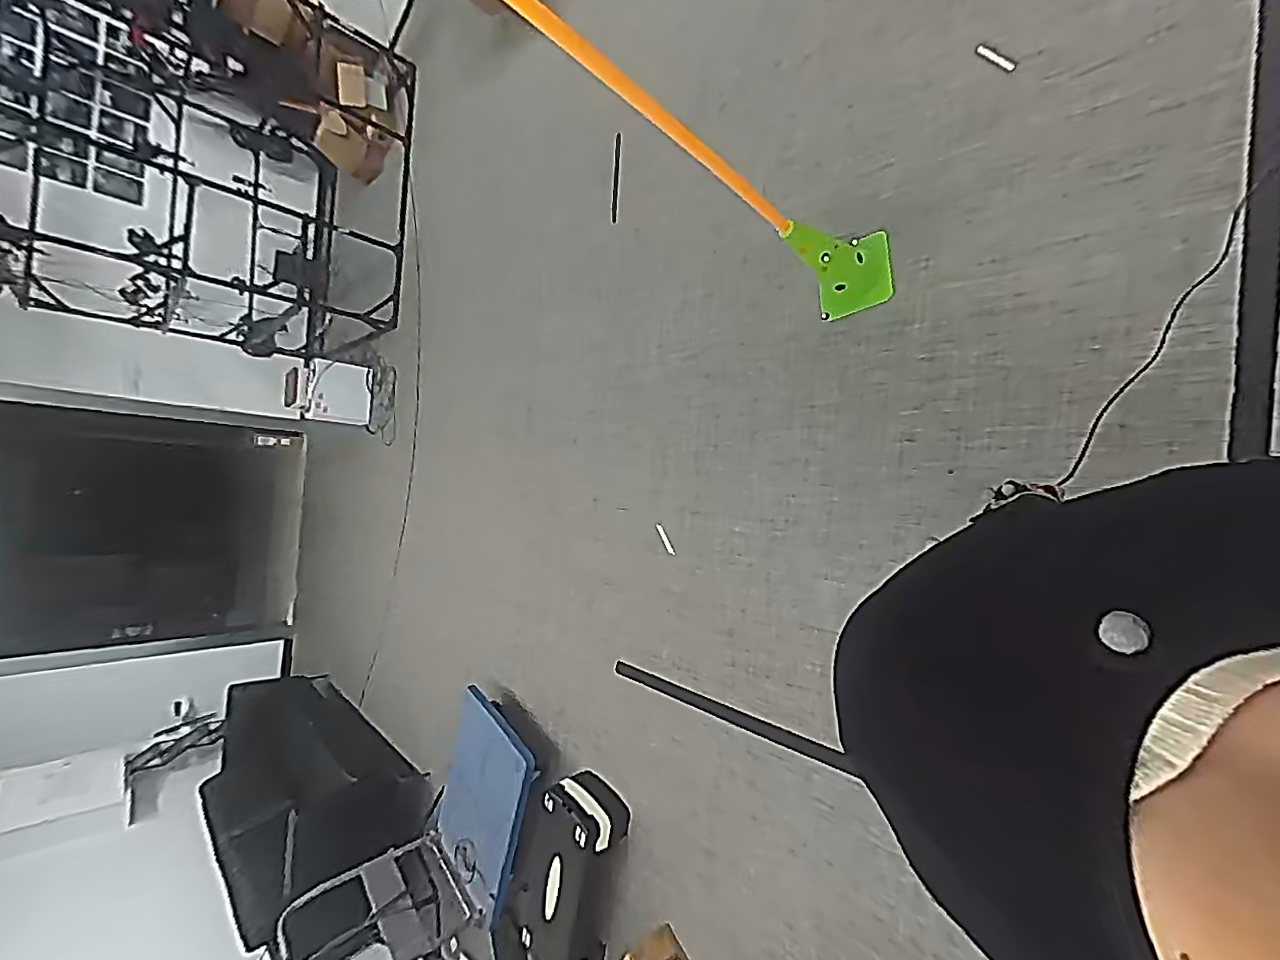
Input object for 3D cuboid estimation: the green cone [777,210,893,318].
[{"bbox_3d":[0.466,-0.582,1.369,0.200,0.368,0.202,-12,76,45],"label":"green cone"}]
